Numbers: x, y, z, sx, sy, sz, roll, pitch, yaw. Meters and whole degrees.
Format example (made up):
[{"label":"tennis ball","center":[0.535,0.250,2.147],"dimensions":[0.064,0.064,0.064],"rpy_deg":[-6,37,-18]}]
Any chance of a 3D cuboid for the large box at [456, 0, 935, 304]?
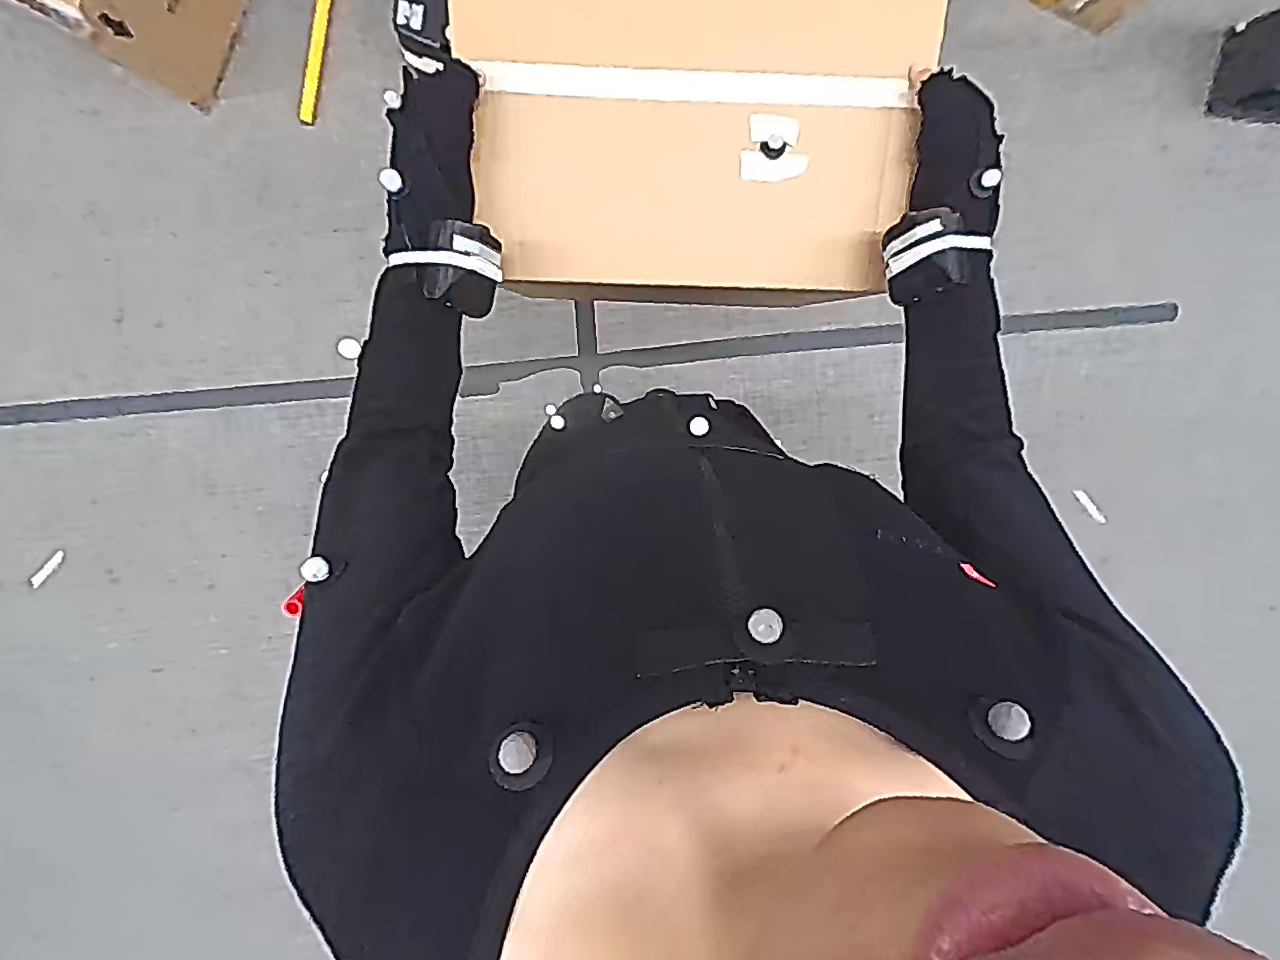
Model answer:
[{"label":"large box","center":[0.038,-0.370,0.603],"dimensions":[0.408,0.320,0.320],"rpy_deg":[1,105,-3]}]
